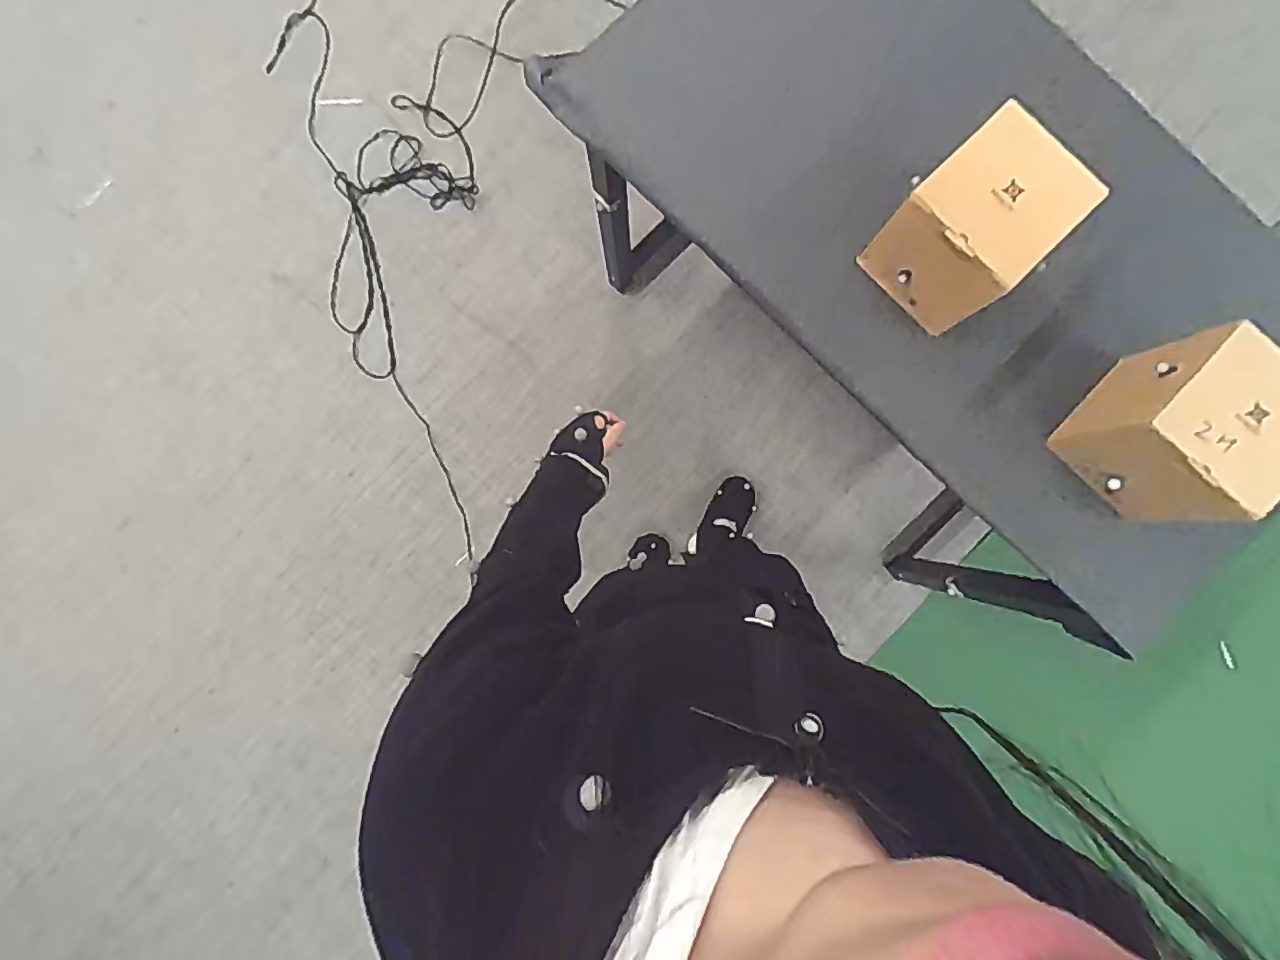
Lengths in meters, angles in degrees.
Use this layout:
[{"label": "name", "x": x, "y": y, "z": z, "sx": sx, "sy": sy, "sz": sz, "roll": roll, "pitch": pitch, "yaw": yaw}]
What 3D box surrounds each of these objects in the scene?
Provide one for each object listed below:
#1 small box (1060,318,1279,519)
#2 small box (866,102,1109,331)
[{"label": "small box", "x": 0.708, "y": -0.067, "z": 0.696, "sx": 0.168, "sy": 0.176, "sz": 0.179, "roll": 44, "pitch": 88, "yaw": 4}, {"label": "small box", "x": 0.443, "y": -0.335, "z": 0.722, "sx": 0.179, "sy": 0.176, "sz": 0.168, "roll": -44, "pitch": 87, "yaw": -2}]
